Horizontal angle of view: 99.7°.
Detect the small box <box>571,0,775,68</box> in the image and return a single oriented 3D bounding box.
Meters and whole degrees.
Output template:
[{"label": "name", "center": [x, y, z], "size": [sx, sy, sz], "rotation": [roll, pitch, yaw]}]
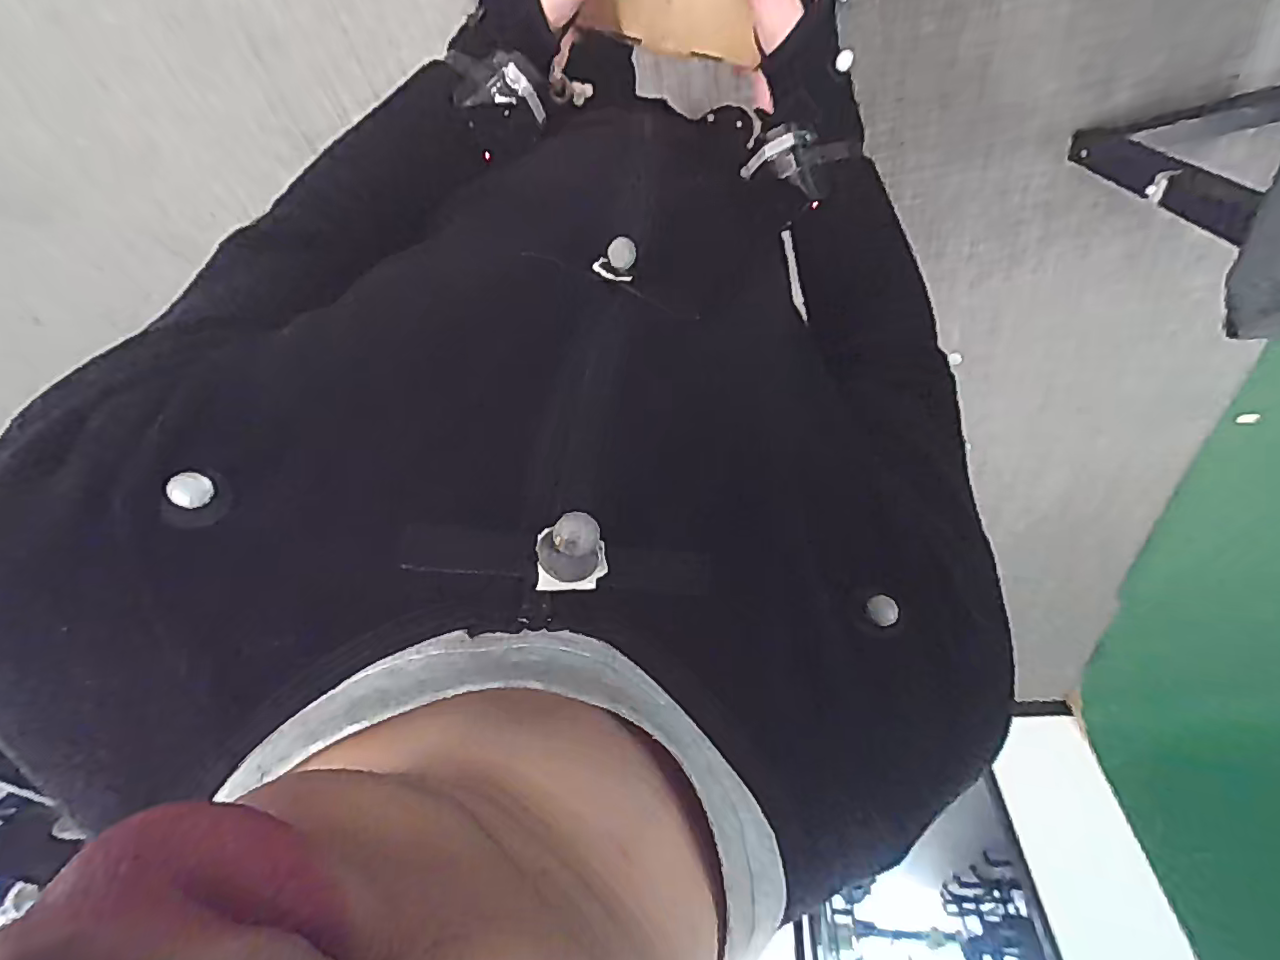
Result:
[{"label": "small box", "center": [0.042, -0.485, 0.446], "size": [0.168, 0.176, 0.179], "rotation": [9, 140, -5]}]
